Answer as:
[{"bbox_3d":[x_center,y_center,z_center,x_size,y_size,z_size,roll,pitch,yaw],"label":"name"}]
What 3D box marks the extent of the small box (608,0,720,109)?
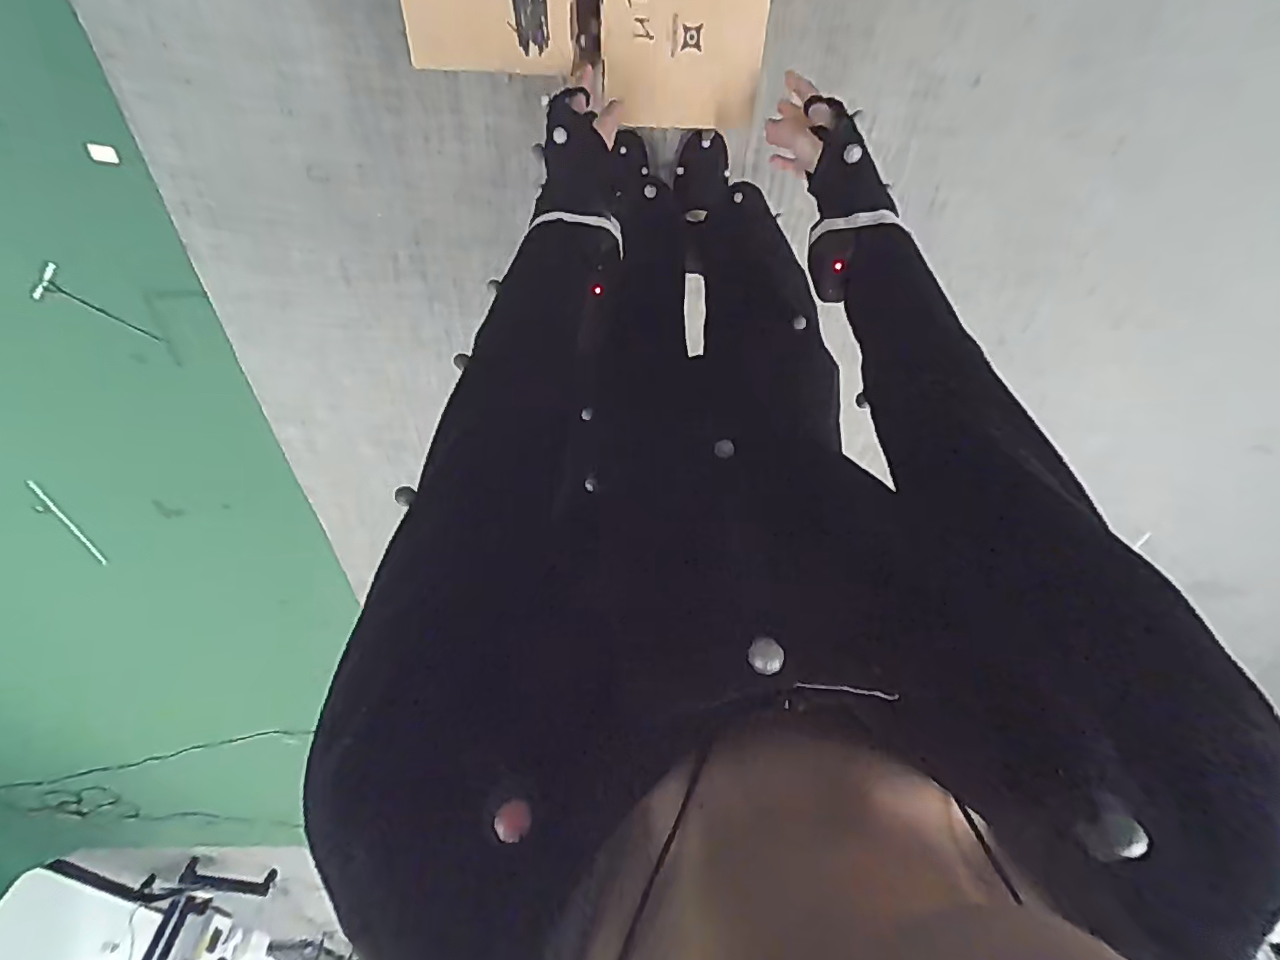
[{"bbox_3d":[0.032,-0.725,0.879,0.168,0.176,0.179,2,132,-3],"label":"small box"}]
